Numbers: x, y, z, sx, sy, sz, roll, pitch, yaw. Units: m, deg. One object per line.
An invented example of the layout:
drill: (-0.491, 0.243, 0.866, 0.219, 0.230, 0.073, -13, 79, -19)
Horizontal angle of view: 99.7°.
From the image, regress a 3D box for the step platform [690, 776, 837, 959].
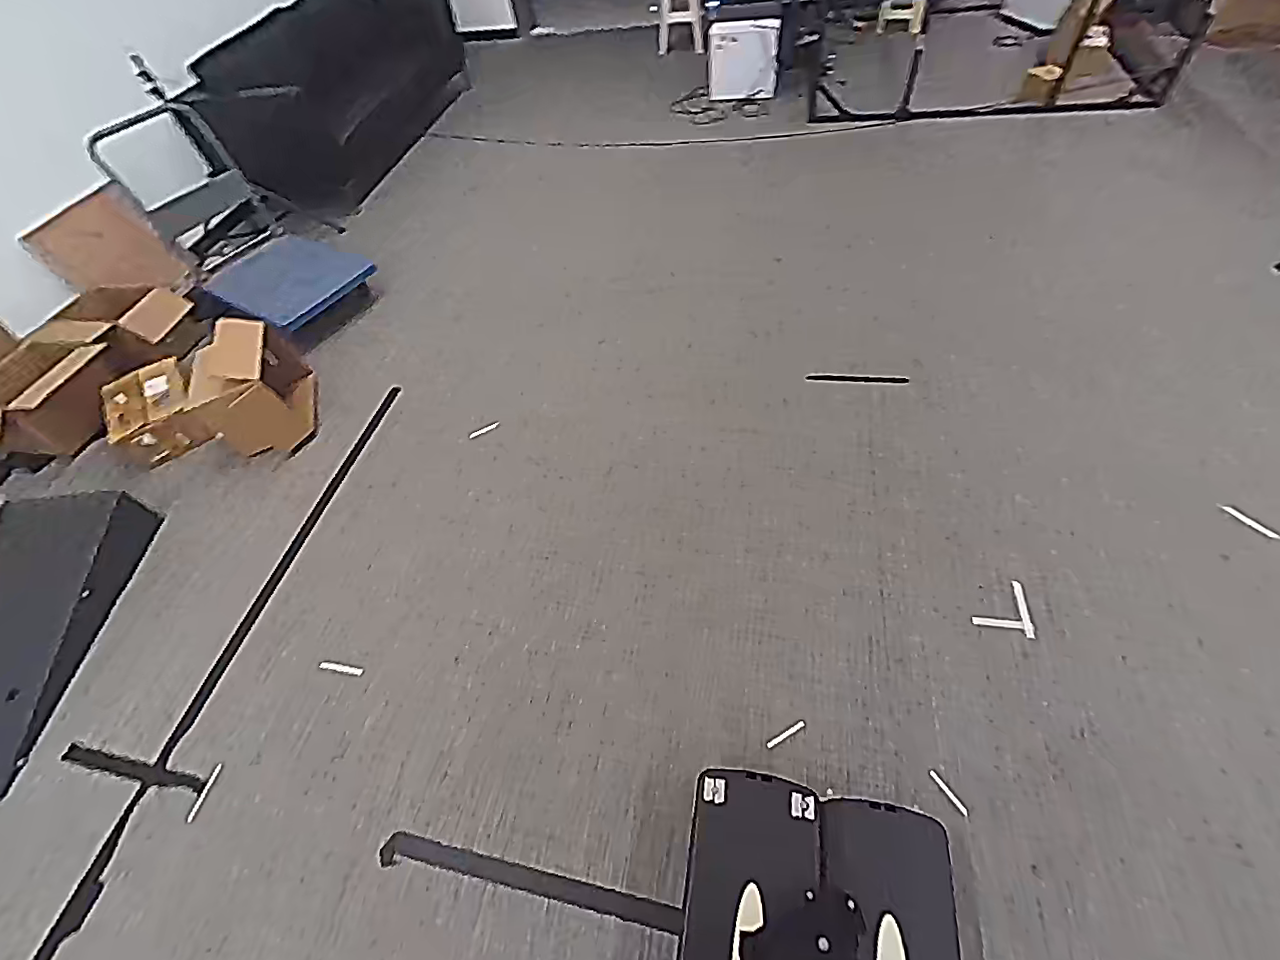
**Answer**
step platform: (0.246, 1.001, 1.114, 0.286, 0.204, 0.684, 5, 54, 11)
